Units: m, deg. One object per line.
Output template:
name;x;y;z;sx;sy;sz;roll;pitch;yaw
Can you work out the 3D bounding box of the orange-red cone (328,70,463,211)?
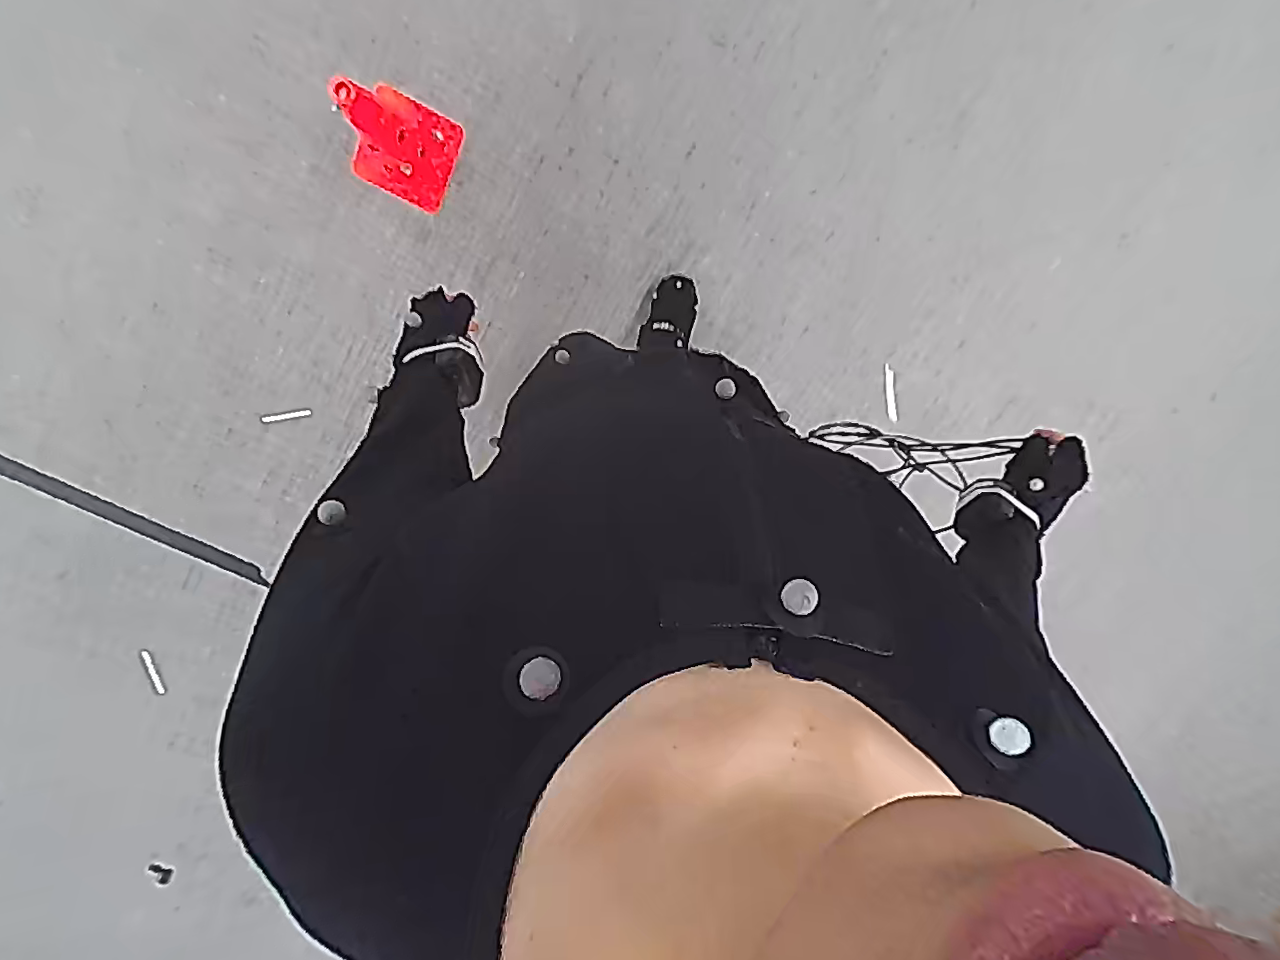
orange-red cone;-0.500;-0.682;1.032;0.199;0.360;0.198;25;102;-11
